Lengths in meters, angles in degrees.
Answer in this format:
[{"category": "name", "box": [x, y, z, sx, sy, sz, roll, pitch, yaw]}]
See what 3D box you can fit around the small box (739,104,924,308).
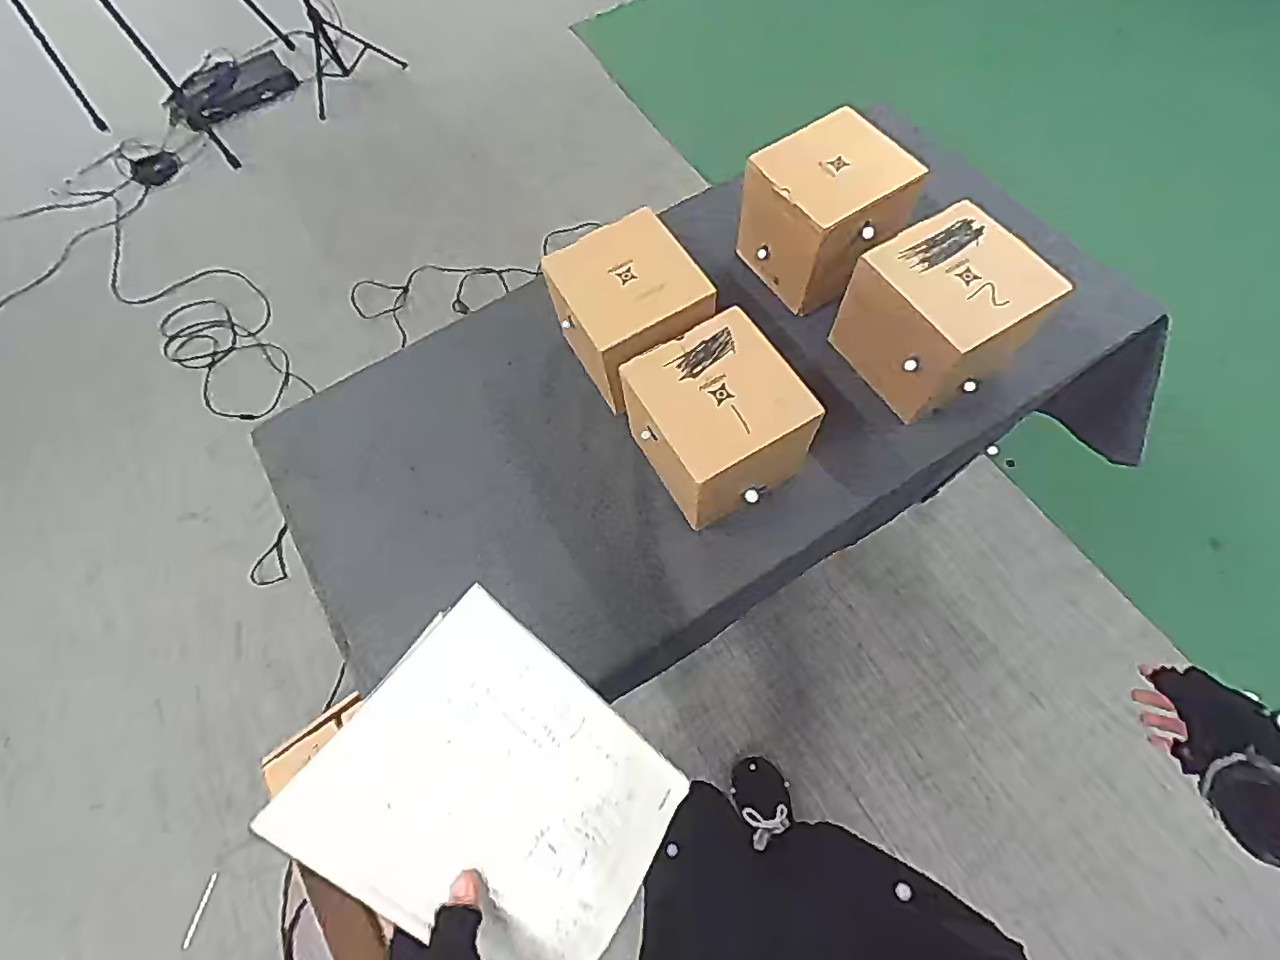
[{"category": "small box", "box": [0.264, -0.393, 0.795, 0.179, 0.176, 0.168, -32, 68, -7]}]
